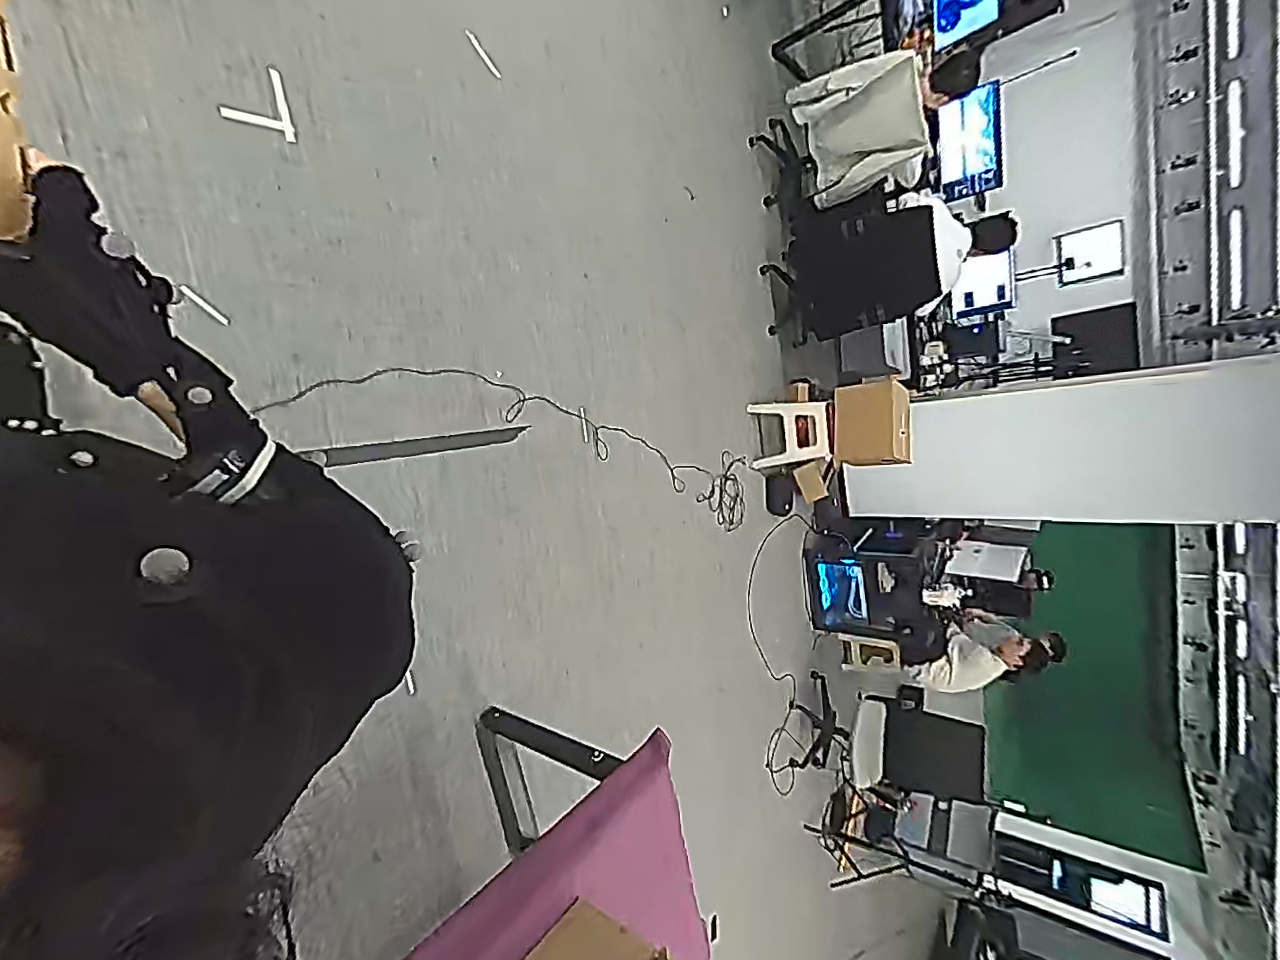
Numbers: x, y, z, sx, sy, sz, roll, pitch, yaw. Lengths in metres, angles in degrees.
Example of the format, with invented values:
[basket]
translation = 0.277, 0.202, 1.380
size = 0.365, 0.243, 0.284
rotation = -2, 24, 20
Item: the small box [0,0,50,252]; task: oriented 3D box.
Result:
[small box]
translation = -0.478, -0.221, 0.285
size = 0.179, 0.176, 0.168
rotation = -15, 103, -62
